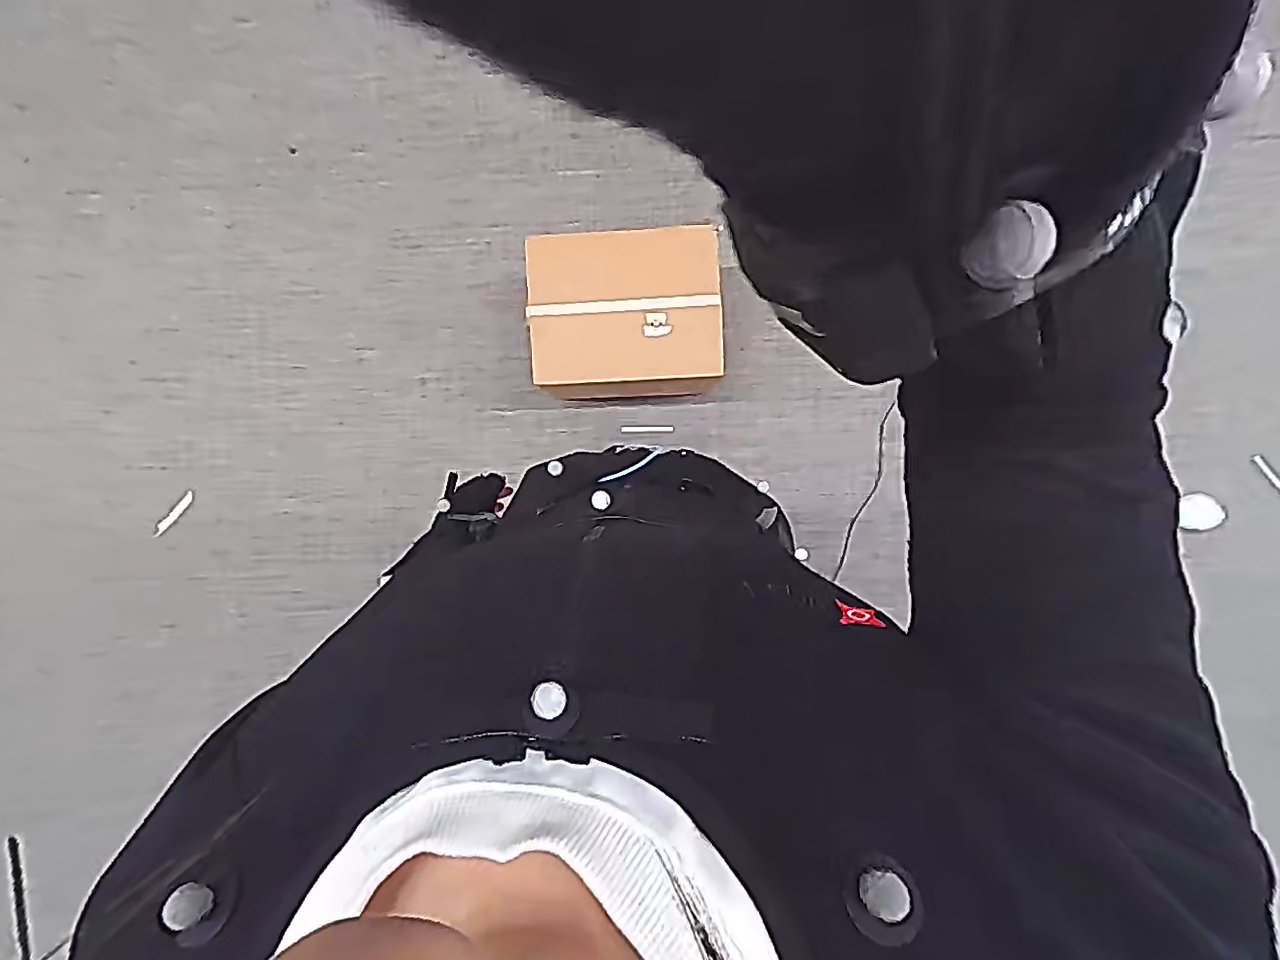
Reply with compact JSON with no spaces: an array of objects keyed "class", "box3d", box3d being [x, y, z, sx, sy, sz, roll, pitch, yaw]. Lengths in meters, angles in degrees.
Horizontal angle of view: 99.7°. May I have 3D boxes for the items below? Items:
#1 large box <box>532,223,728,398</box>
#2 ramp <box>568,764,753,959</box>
[{"class":"large box","box3d":[-0.018,-0.376,1.285,0.408,0.320,0.320,-3,93,2]},{"class":"ramp","box3d":[0.051,1.282,1.422,0.509,0.206,0.991,0,92,3]}]
